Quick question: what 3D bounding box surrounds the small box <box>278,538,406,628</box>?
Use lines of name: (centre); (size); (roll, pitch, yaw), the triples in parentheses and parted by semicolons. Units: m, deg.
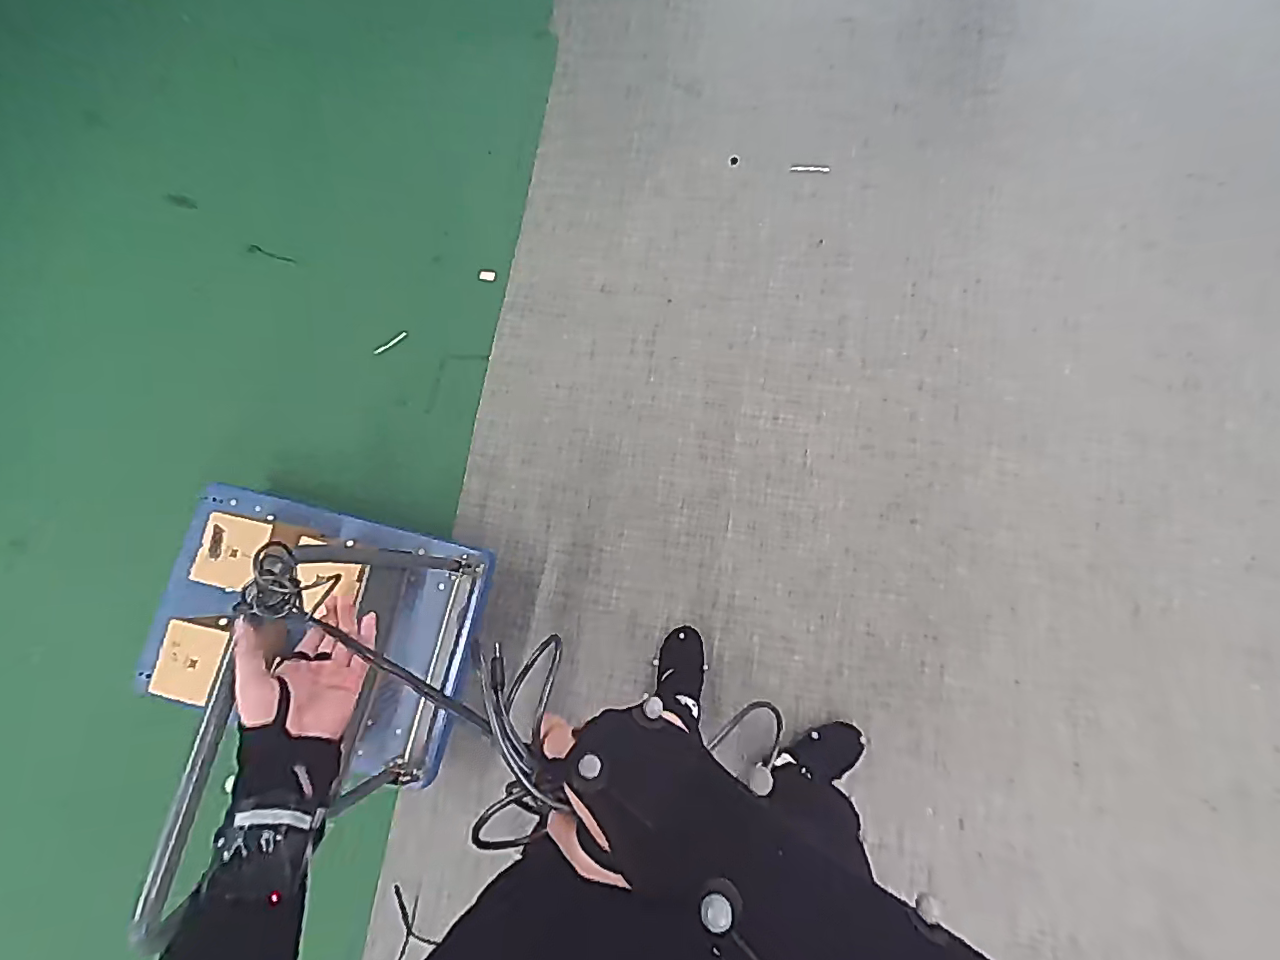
small box: (-0.704, 0.247, 1.295); (0.179, 0.176, 0.168); (14, 82, 10)

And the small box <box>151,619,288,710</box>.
small box: (-0.999, 0.435, 1.302); (0.179, 0.176, 0.168); (9, 80, 10)

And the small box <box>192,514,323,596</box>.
small box: (-0.939, 0.189, 1.341); (0.179, 0.176, 0.168); (11, 81, 9)
